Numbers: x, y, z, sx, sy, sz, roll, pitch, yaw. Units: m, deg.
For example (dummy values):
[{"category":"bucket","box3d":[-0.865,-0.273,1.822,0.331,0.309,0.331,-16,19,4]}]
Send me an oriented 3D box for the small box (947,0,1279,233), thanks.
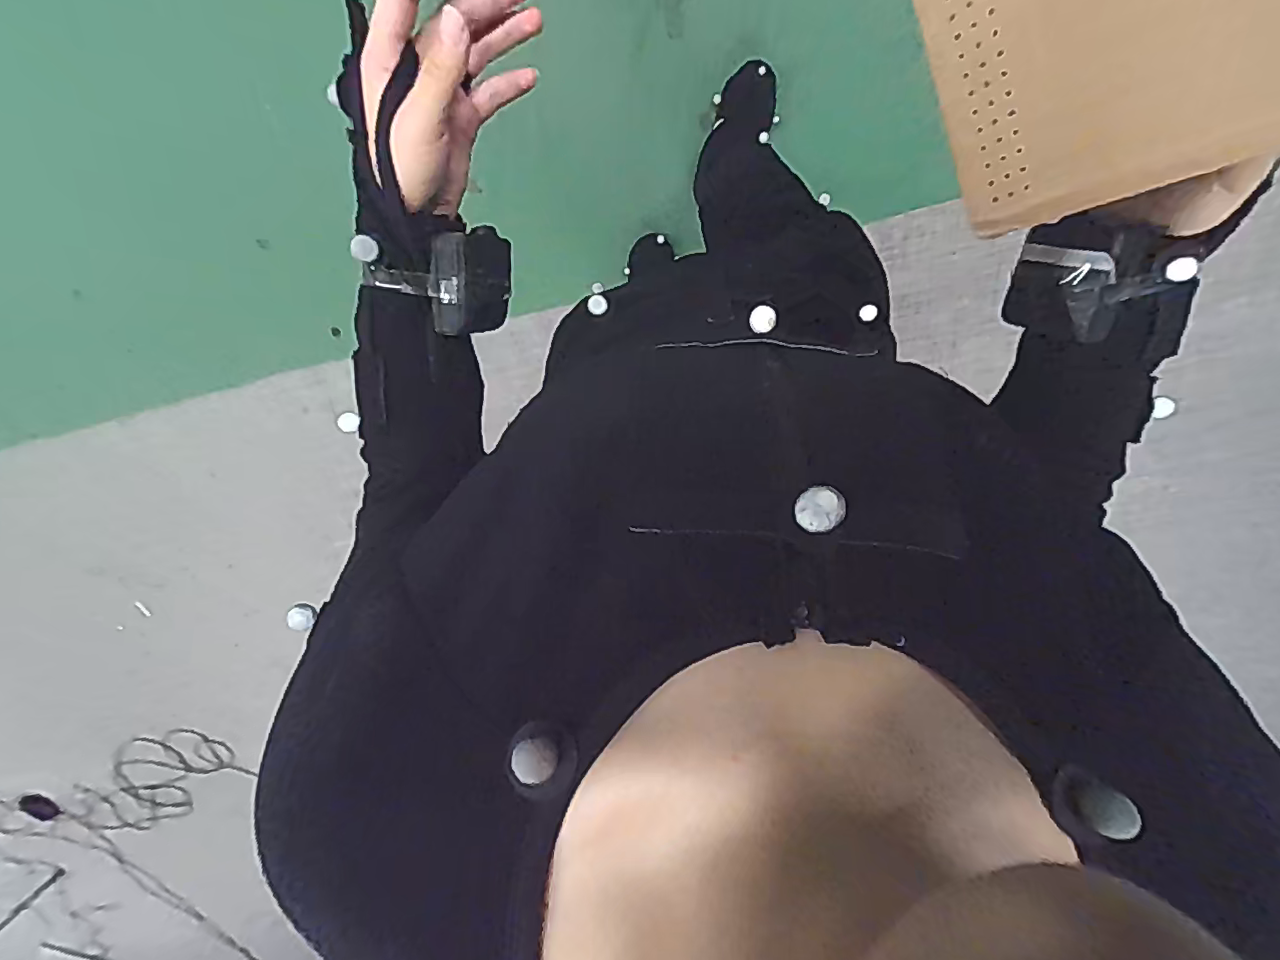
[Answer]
[{"category":"small box","box3d":[0.203,-0.199,0.142,0.168,0.176,0.179,-28,105,-7]}]
